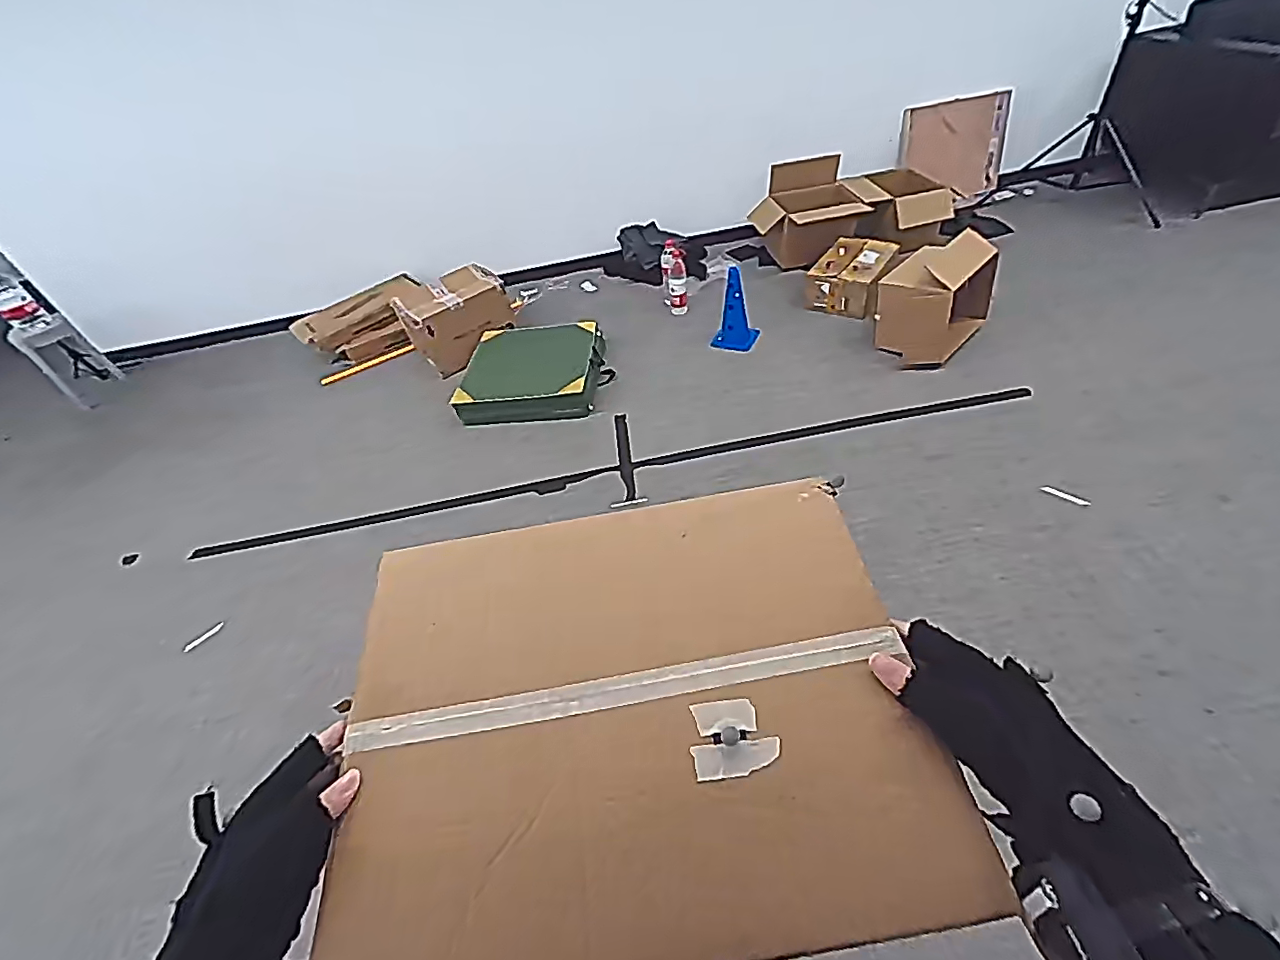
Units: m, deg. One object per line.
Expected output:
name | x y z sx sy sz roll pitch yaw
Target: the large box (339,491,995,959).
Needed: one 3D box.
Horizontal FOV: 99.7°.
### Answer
large box | 0.007 0.254 0.521 0.408 0.320 0.320 -10 52 -1
